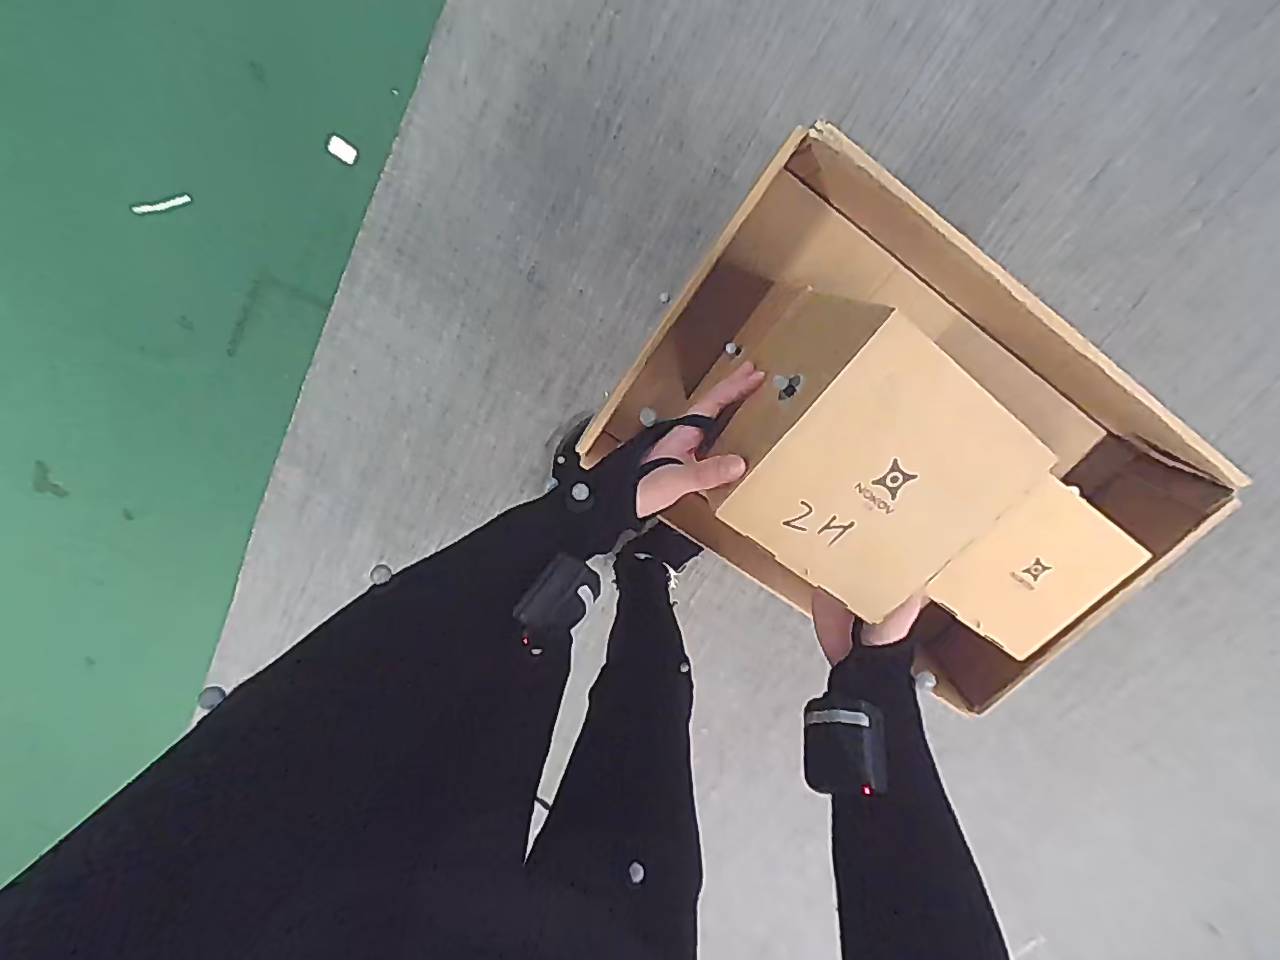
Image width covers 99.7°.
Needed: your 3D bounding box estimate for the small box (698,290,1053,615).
[{"bbox_3d":[0.162,-0.034,0.442,0.168,0.176,0.179,34,109,-13],"label":"small box"}]
